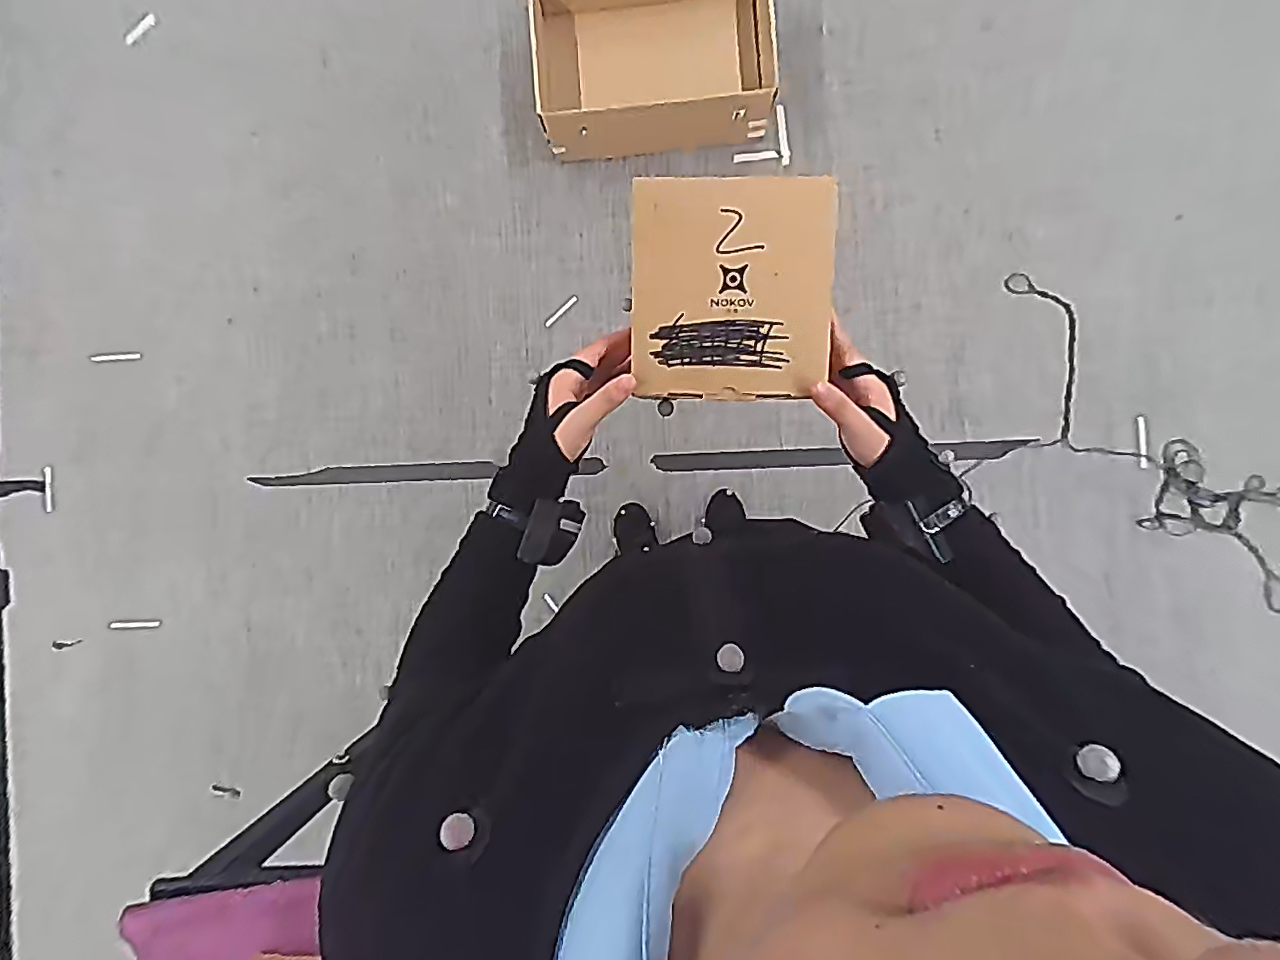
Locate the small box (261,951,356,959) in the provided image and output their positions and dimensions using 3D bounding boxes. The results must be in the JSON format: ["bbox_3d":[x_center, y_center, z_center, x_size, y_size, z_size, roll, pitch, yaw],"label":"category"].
[{"bbox_3d":[-0.482,0.782,0.711,0.168,0.176,0.179,1,90,3],"label":"small box"}]
